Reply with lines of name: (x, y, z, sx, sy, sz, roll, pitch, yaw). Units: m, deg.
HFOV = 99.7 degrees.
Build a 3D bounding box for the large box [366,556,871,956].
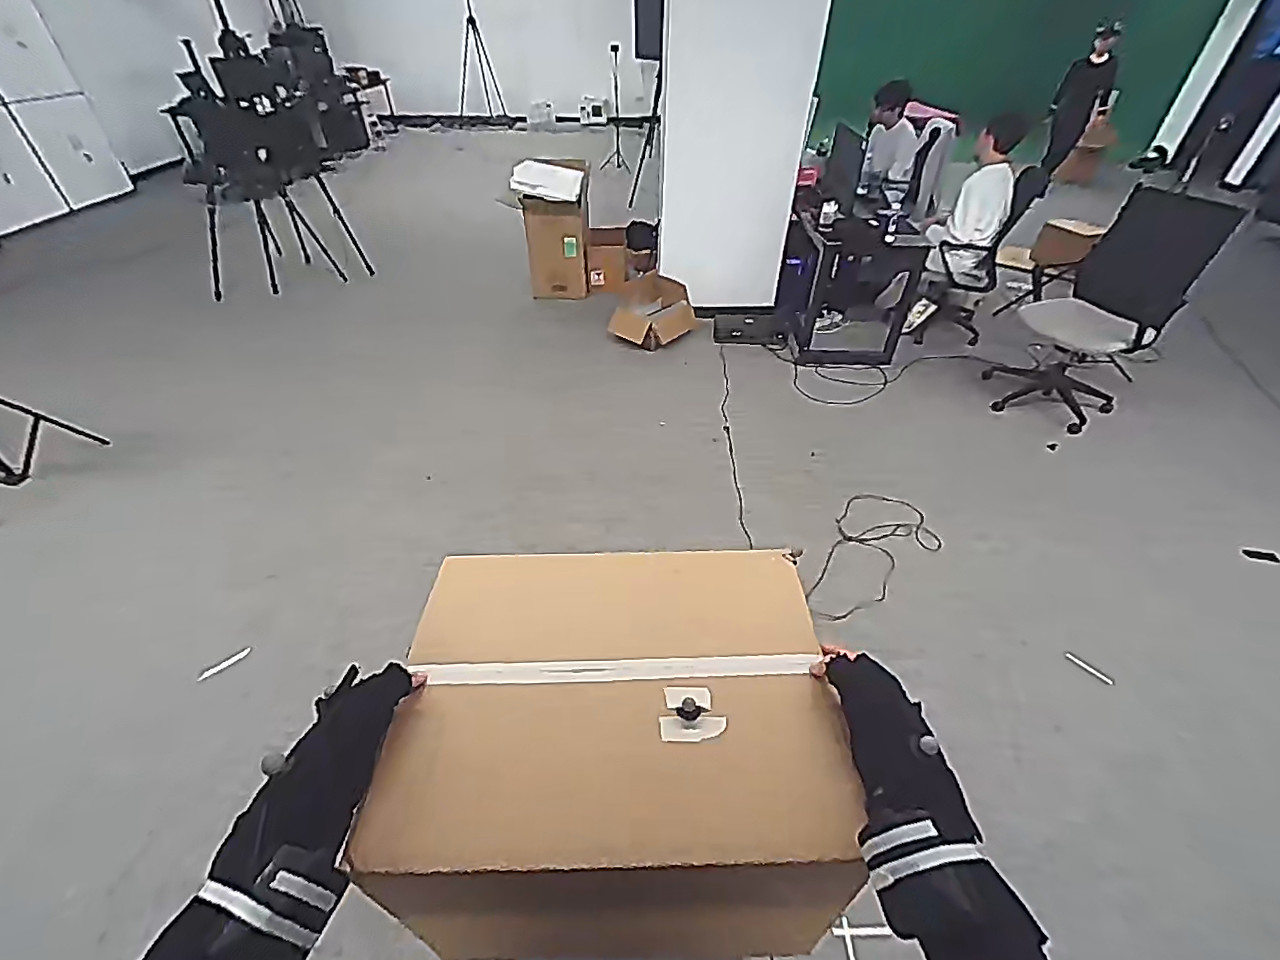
large box: (-0.019, 0.308, 0.625, 0.408, 0.320, 0.320, -1, 39, 0)
